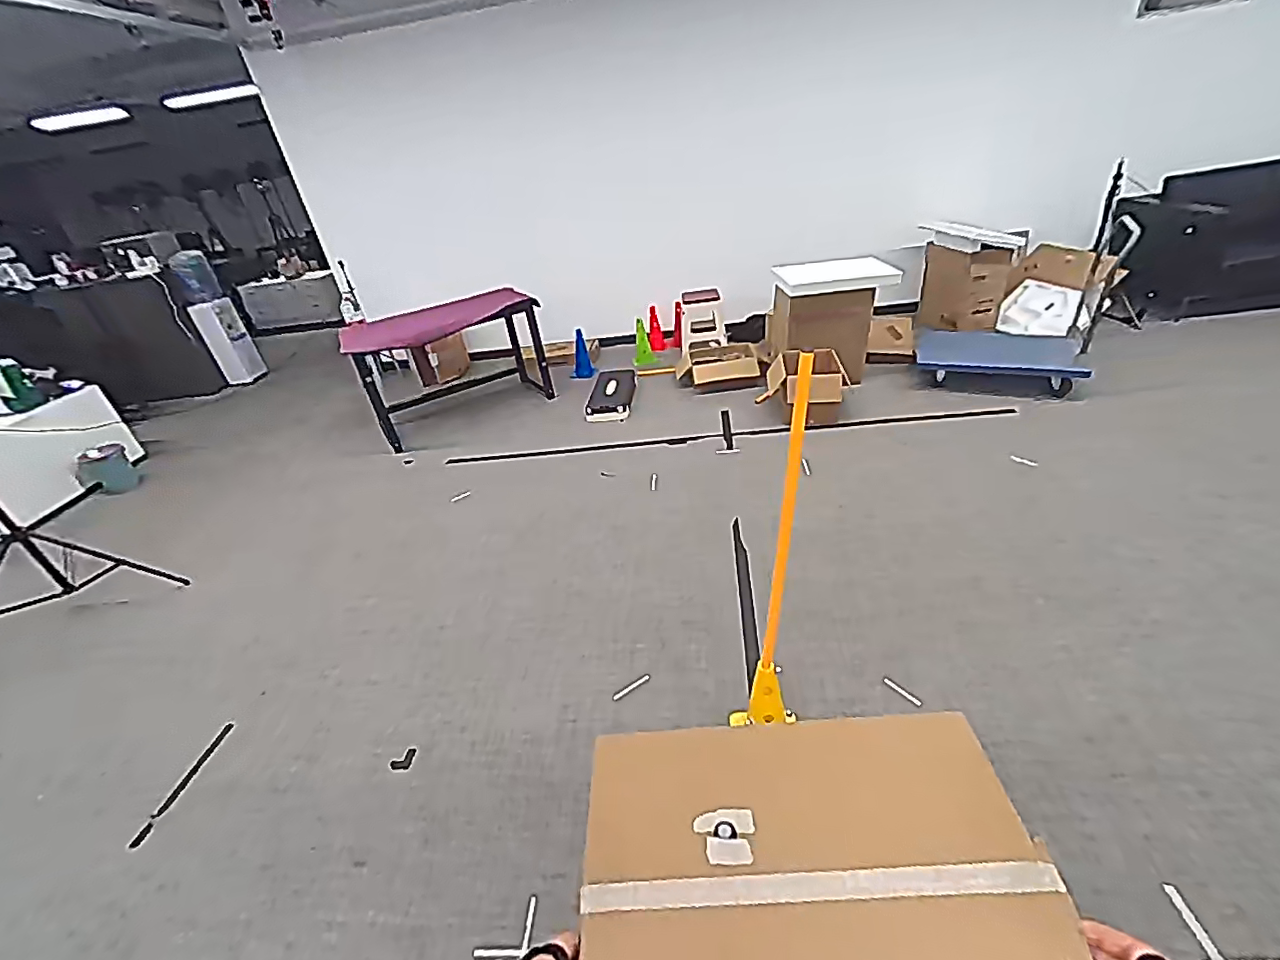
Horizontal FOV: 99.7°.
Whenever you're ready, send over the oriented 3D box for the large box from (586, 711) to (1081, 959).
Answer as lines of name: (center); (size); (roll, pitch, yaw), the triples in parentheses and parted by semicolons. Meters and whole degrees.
large box: (0.174, 0.487, 0.568); (0.408, 0.320, 0.320); (-8, 34, 6)
